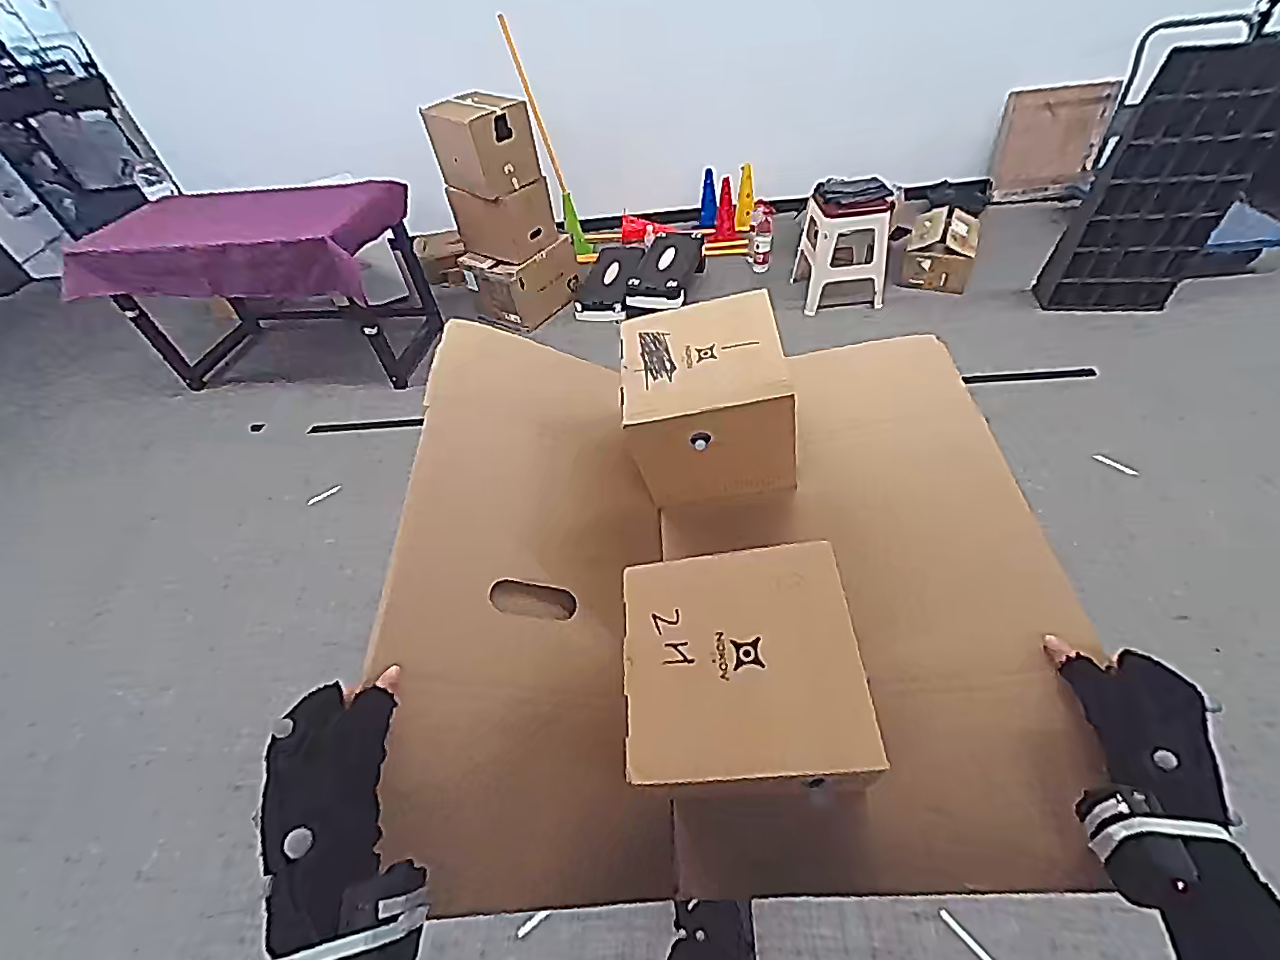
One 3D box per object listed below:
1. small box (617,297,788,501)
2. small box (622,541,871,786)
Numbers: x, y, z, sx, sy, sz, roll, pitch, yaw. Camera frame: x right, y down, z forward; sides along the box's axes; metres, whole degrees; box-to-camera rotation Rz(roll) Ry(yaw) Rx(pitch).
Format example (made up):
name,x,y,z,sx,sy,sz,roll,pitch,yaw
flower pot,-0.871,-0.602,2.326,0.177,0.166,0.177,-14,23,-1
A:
name,x,y,z,sx,sy,sz,roll,pitch,yaw
small box,0.079,-0.089,0.664,0.179,0.176,0.168,-10,55,11
small box,0.089,0.173,0.485,0.179,0.176,0.168,-10,55,12
